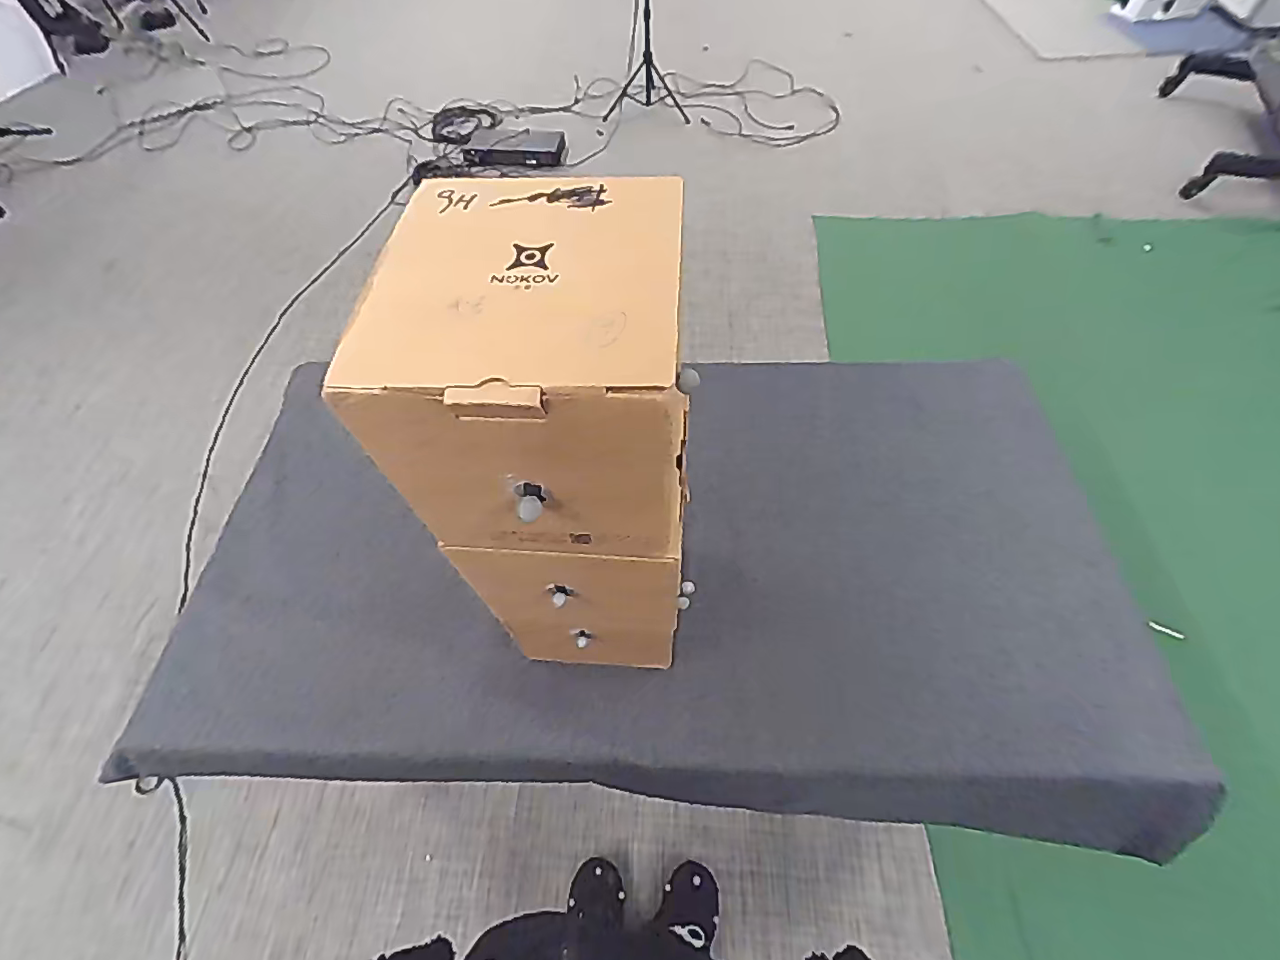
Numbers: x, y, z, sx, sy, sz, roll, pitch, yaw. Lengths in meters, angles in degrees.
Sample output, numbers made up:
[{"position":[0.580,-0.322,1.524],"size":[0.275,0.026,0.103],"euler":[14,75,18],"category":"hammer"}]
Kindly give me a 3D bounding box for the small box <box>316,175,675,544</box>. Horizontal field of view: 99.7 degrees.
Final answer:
[{"position":[-0.062,-0.067,0.357],"size":[0.168,0.176,0.179],"euler":[1,59,5],"category":"small box"}]

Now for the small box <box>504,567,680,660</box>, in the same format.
[{"position":[-0.042,0.107,0.633],"size":[0.179,0.176,0.168],"euler":[1,59,3],"category":"small box"}]

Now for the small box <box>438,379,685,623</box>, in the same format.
[{"position":[-0.050,0.024,0.492],"size":[0.179,0.176,0.168],"euler":[1,58,6],"category":"small box"}]
